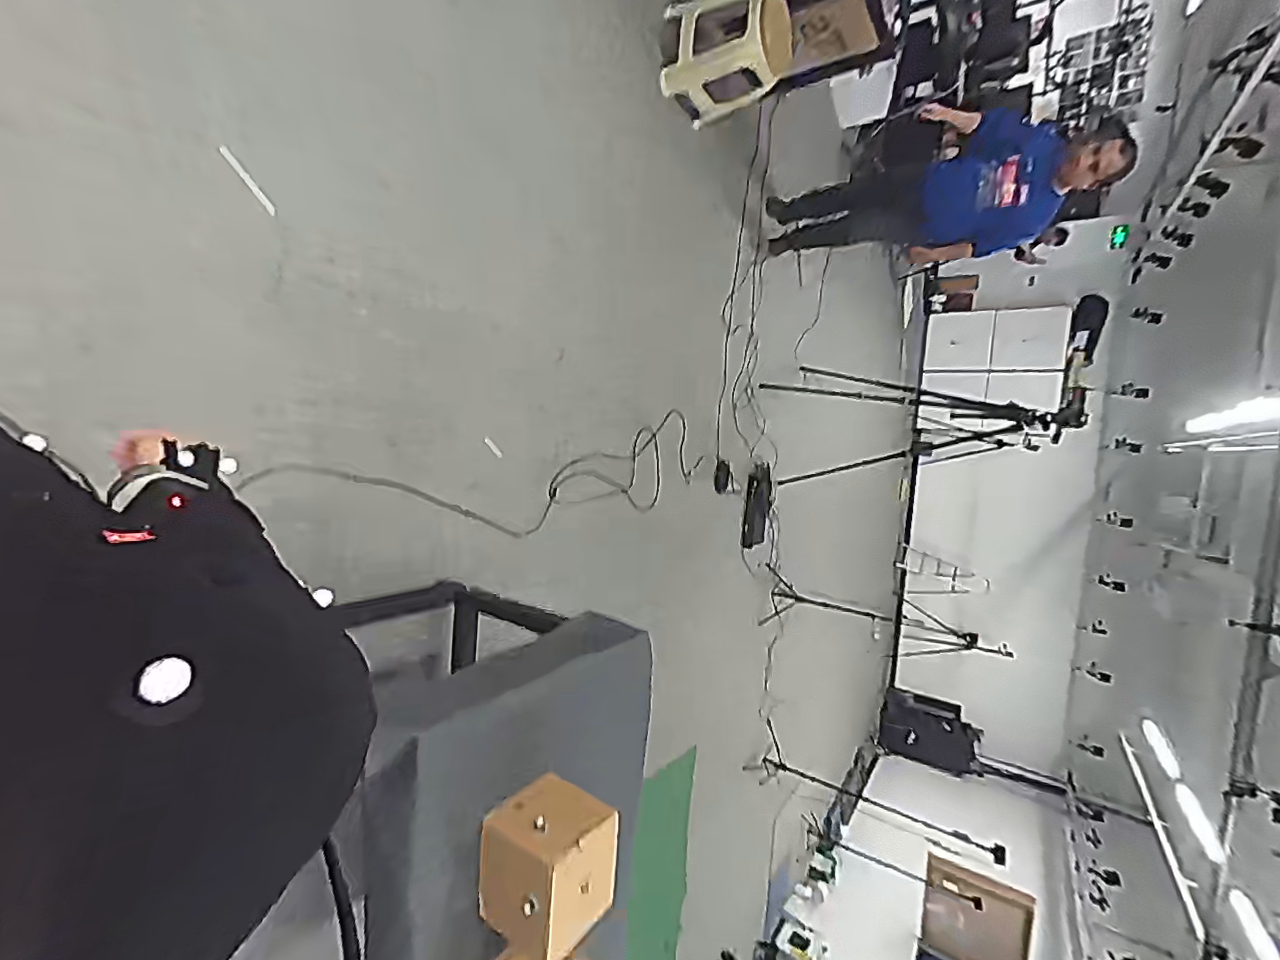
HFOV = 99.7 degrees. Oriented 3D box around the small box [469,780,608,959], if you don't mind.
[{"bbox_3d":[-0.174,0.652,0.931,0.168,0.176,0.179,-3,99,-55],"label":"small box"}]
